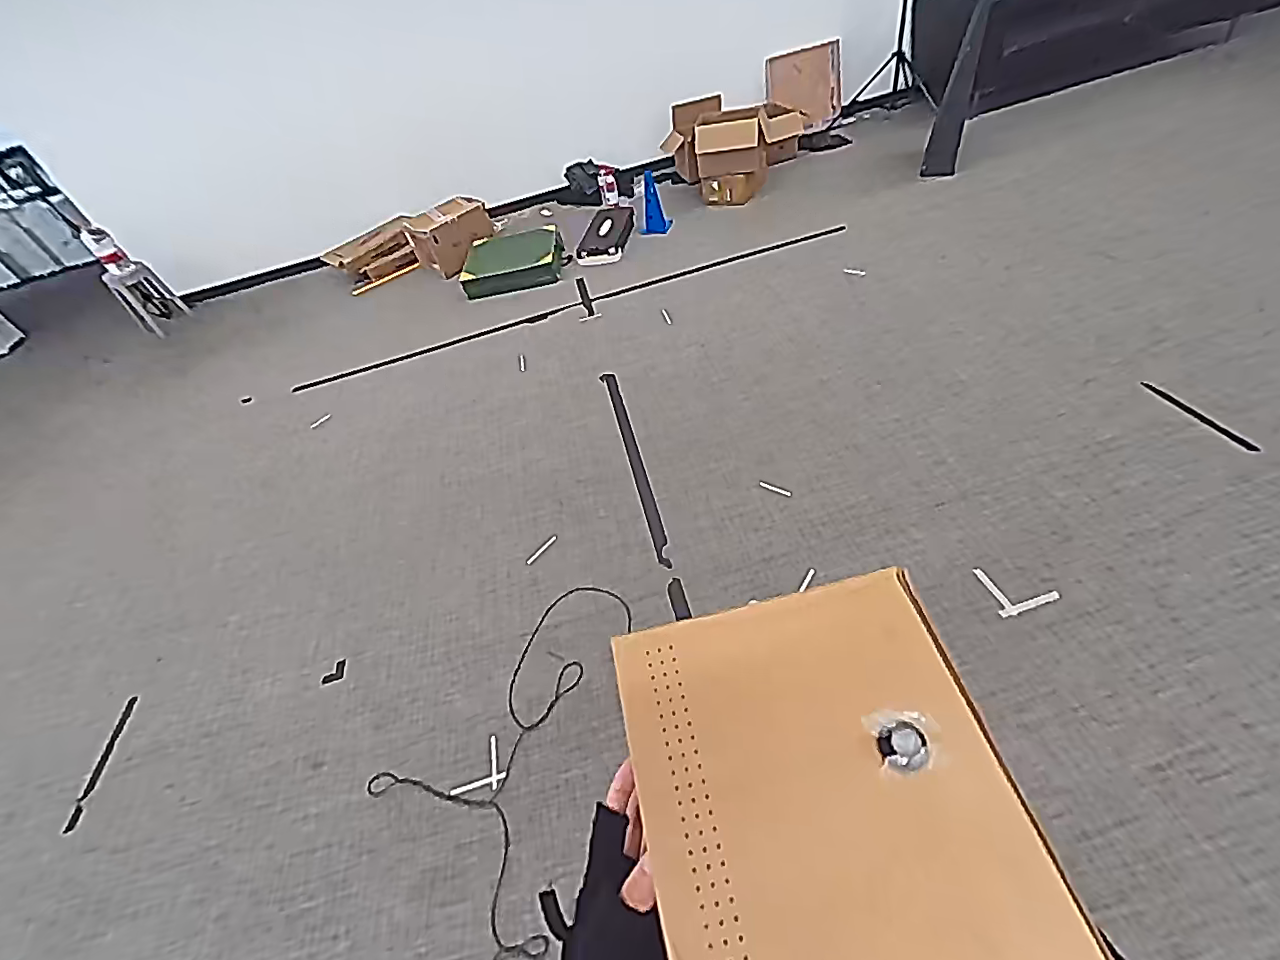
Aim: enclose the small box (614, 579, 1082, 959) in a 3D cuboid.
[{"bbox_3d":[0.088,0.188,0.324,0.176,0.168,0.179,-15,55,0],"label":"small box"}]
